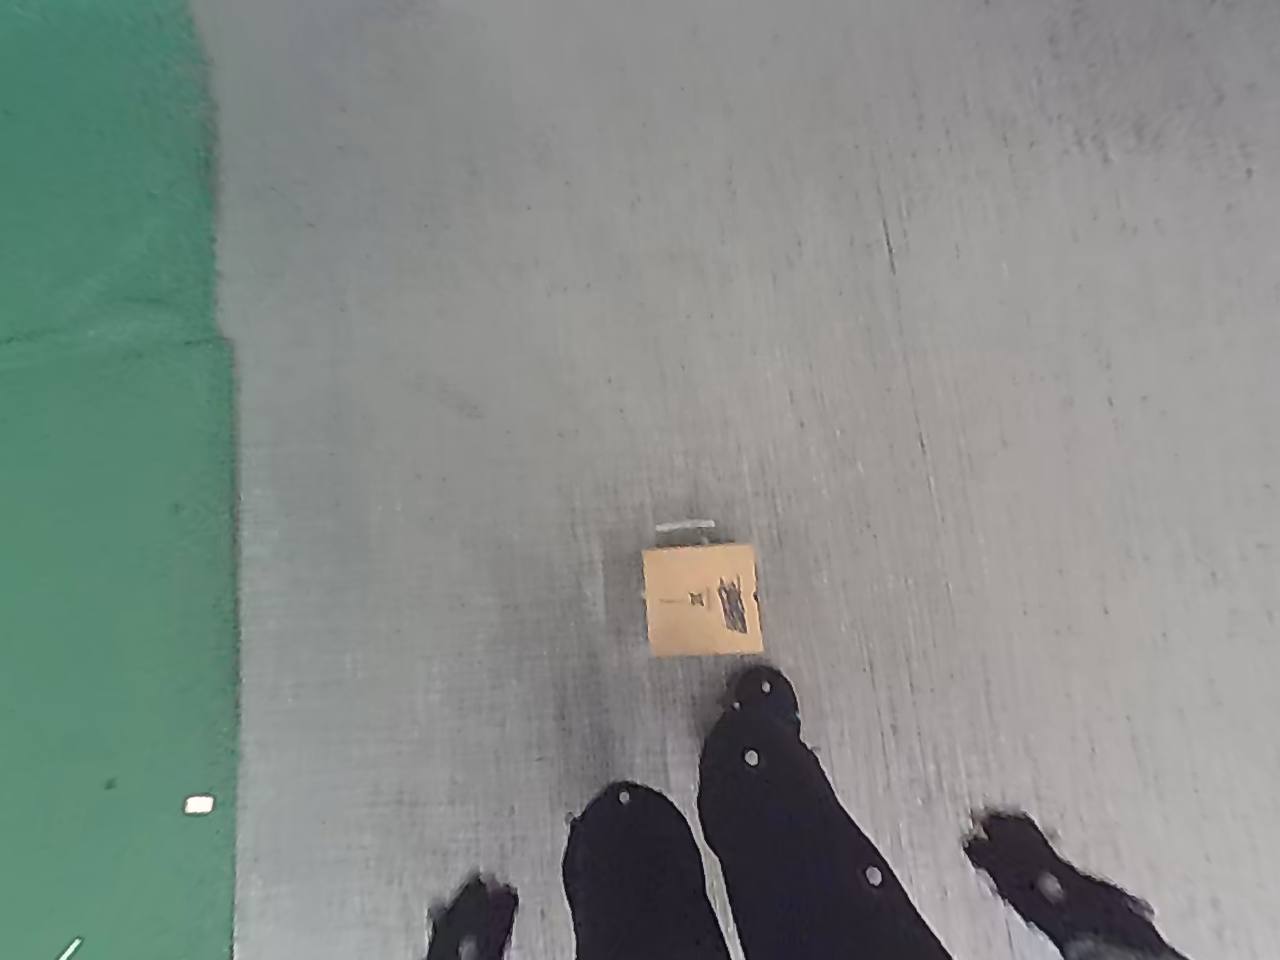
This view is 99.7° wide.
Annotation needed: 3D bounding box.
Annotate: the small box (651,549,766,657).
[{"bbox_3d":[0.111,0.202,0.917,0.179,0.176,0.168,-1,80,5],"label":"small box"}]
